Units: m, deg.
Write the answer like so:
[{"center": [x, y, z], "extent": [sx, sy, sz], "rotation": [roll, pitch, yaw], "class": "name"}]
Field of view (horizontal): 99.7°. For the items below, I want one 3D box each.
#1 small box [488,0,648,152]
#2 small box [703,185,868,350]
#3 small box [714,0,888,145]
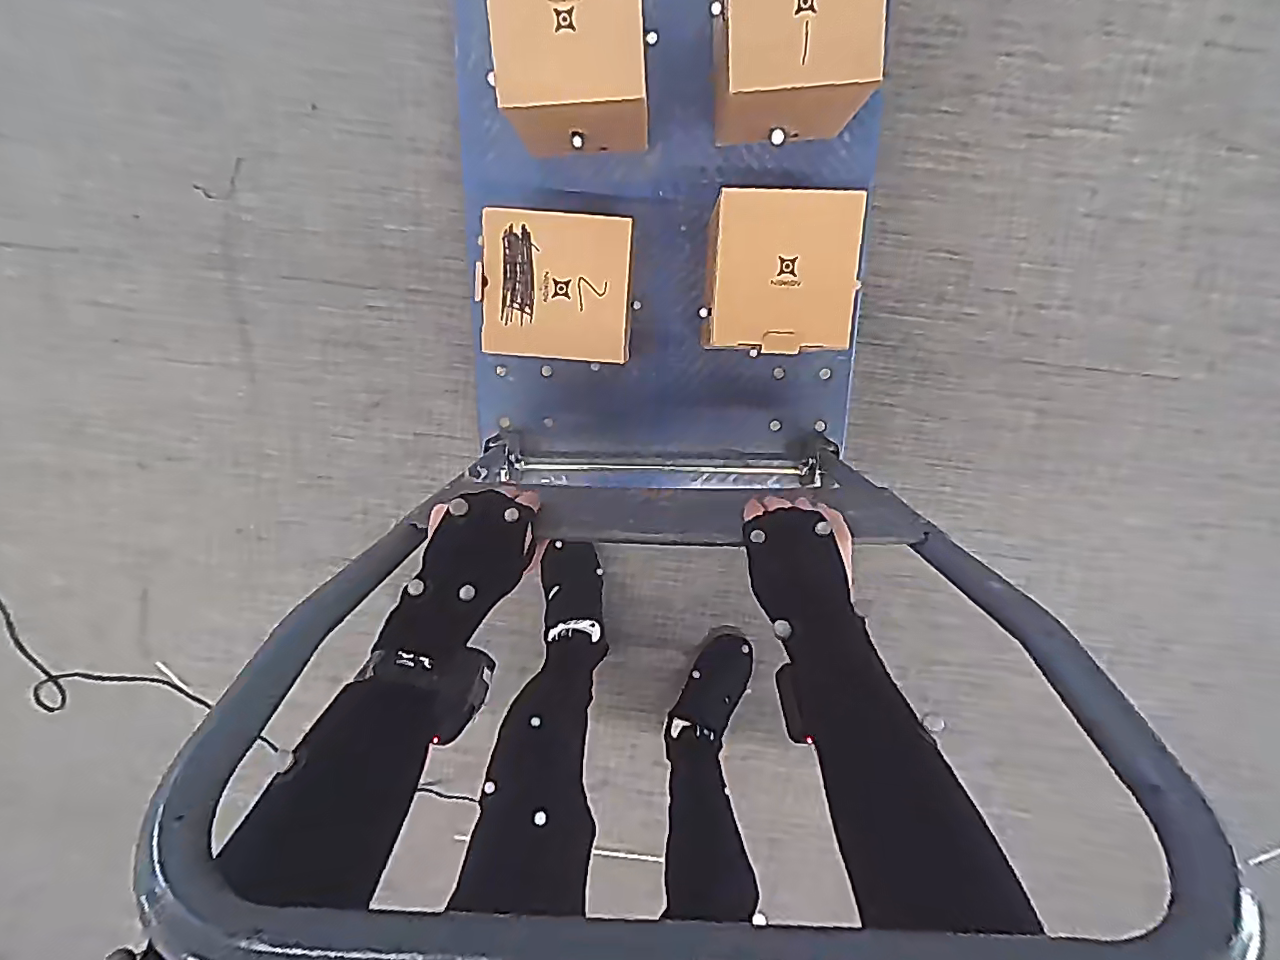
[{"center": [-0.076, -0.513, 0.649], "extent": [0.168, 0.176, 0.179], "rotation": [-2, 104, 2], "class": "small box"}, {"center": [0.174, -0.263, 0.704], "extent": [0.168, 0.176, 0.179], "rotation": [2, 104, 1], "class": "small box"}, {"center": [0.177, -0.525, 0.637], "extent": [0.168, 0.176, 0.179], "rotation": [-2, 105, 3], "class": "small box"}]
